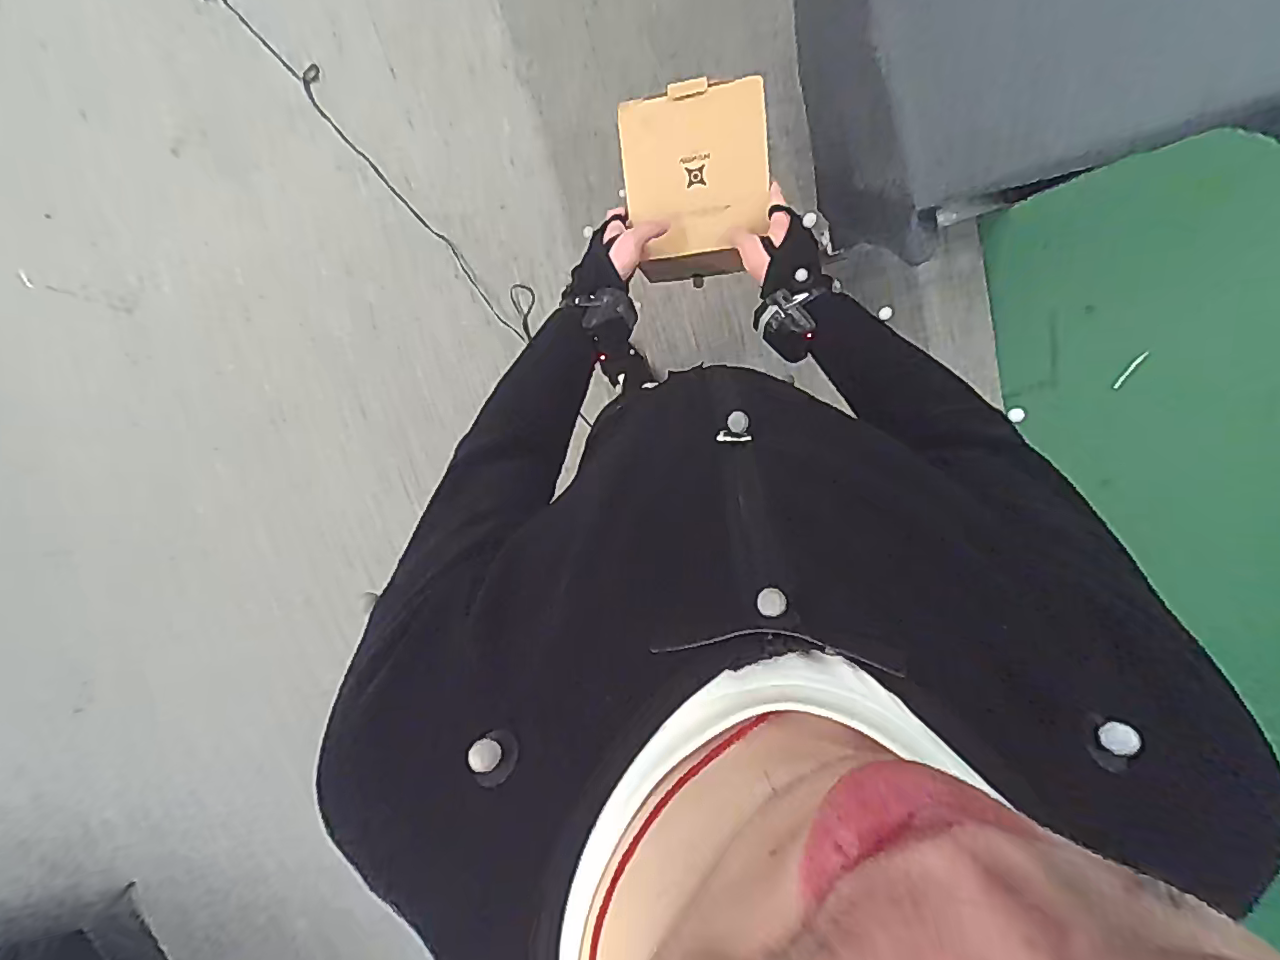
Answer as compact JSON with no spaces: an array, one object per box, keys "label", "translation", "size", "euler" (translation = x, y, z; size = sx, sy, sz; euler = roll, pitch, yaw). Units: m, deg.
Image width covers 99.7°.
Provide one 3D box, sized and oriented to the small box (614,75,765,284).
[{"label":"small box","translation":[0.068,-0.357,0.679],"size":[0.168,0.176,0.179],"euler":[-2,101,11]}]
